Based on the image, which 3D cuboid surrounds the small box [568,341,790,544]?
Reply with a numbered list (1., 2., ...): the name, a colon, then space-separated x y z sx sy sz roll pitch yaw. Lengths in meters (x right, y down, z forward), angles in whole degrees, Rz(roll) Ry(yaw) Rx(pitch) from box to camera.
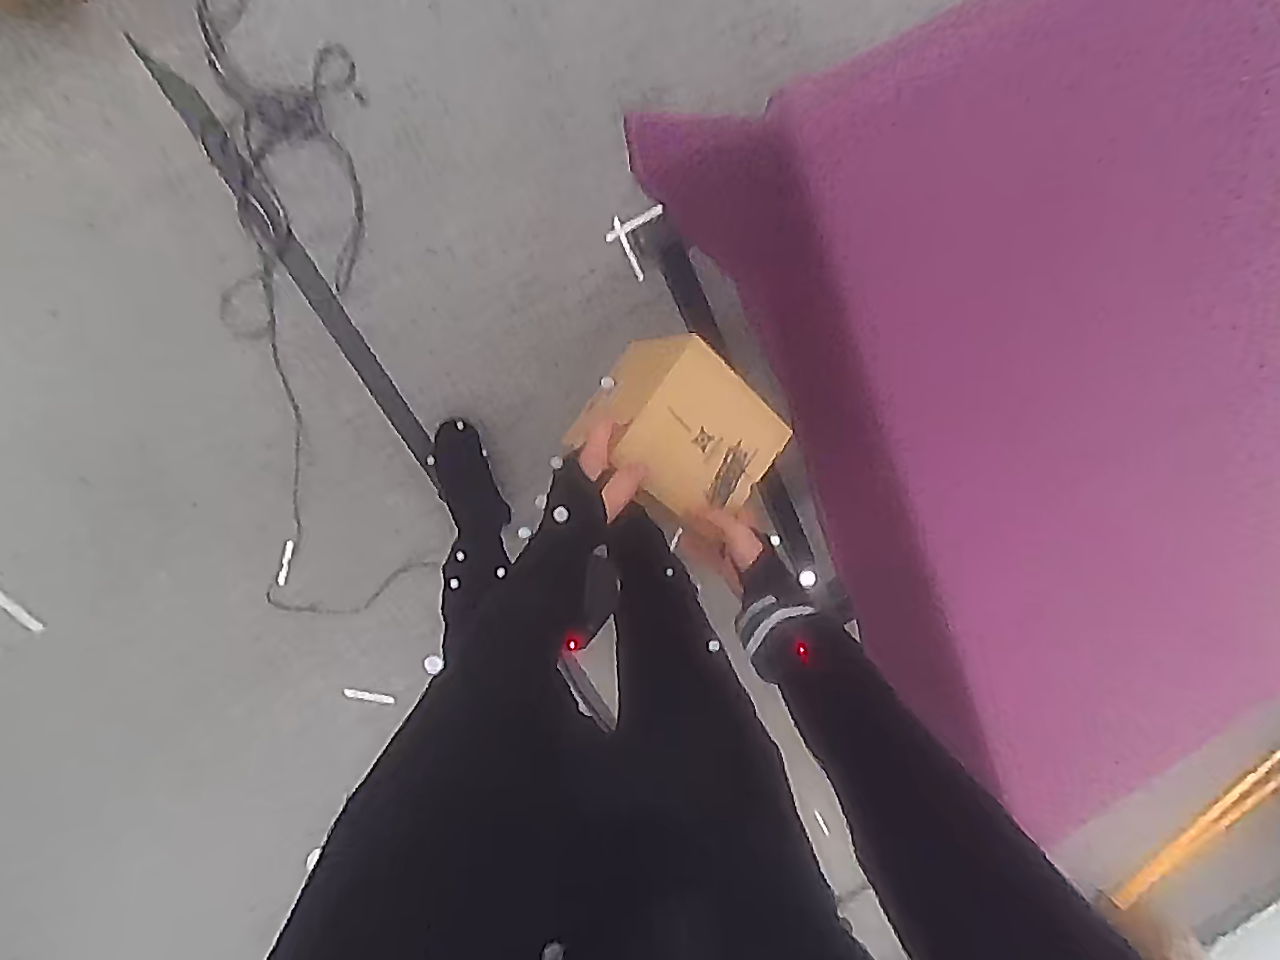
1. small box: 0.041 -0.051 0.668 0.179 0.176 0.168 37 83 -25
